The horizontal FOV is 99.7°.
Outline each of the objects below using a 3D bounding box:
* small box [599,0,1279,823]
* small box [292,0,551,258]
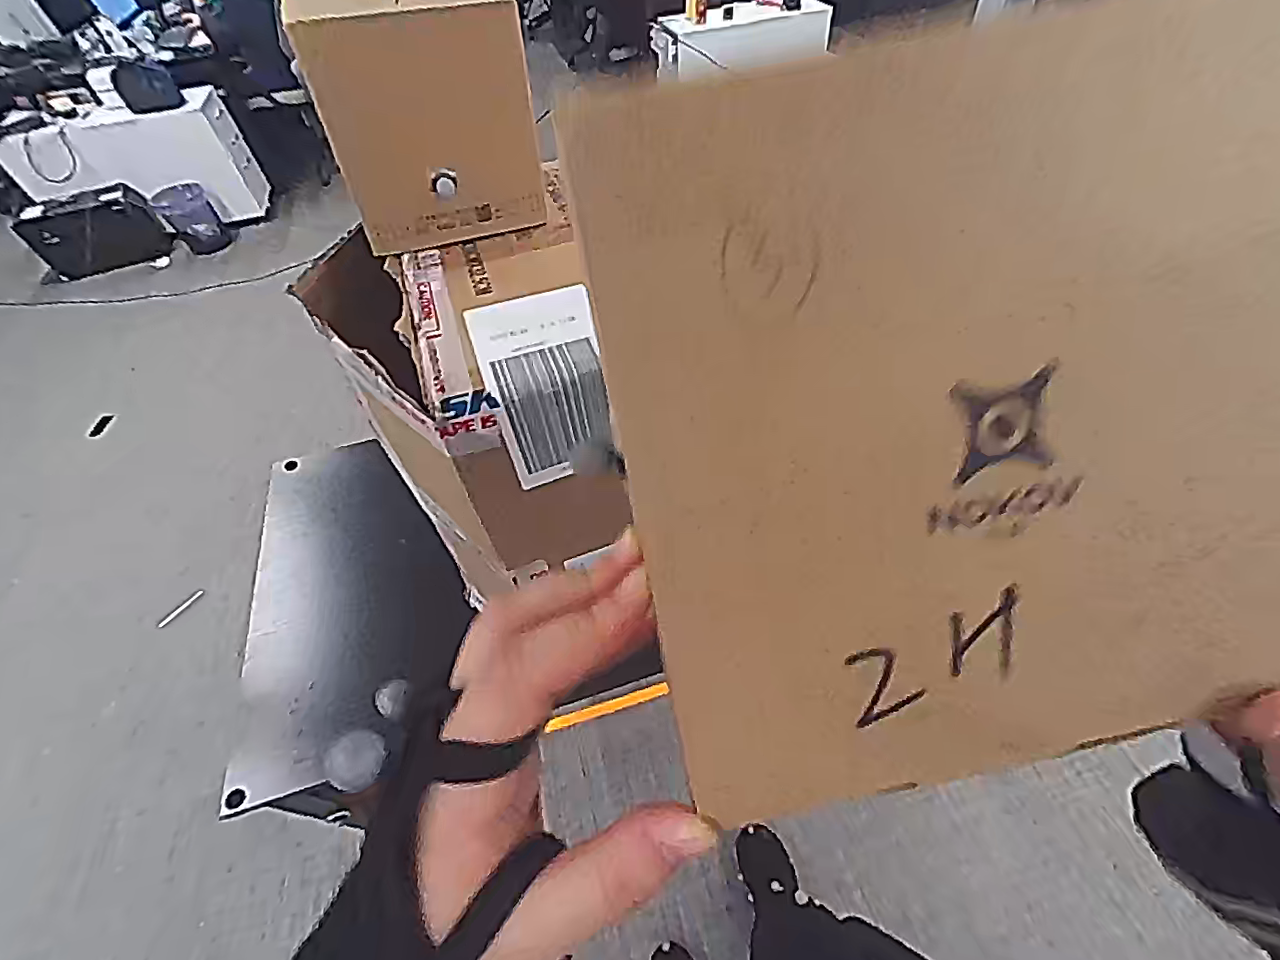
[{"bbox_3d":[0.079,-0.029,0.195,0.168,0.179,0.176,-11,16,-1],"label":"small box"},{"bbox_3d":[-0.193,-0.332,0.502,0.168,0.176,0.179,-19,50,-14],"label":"small box"}]
